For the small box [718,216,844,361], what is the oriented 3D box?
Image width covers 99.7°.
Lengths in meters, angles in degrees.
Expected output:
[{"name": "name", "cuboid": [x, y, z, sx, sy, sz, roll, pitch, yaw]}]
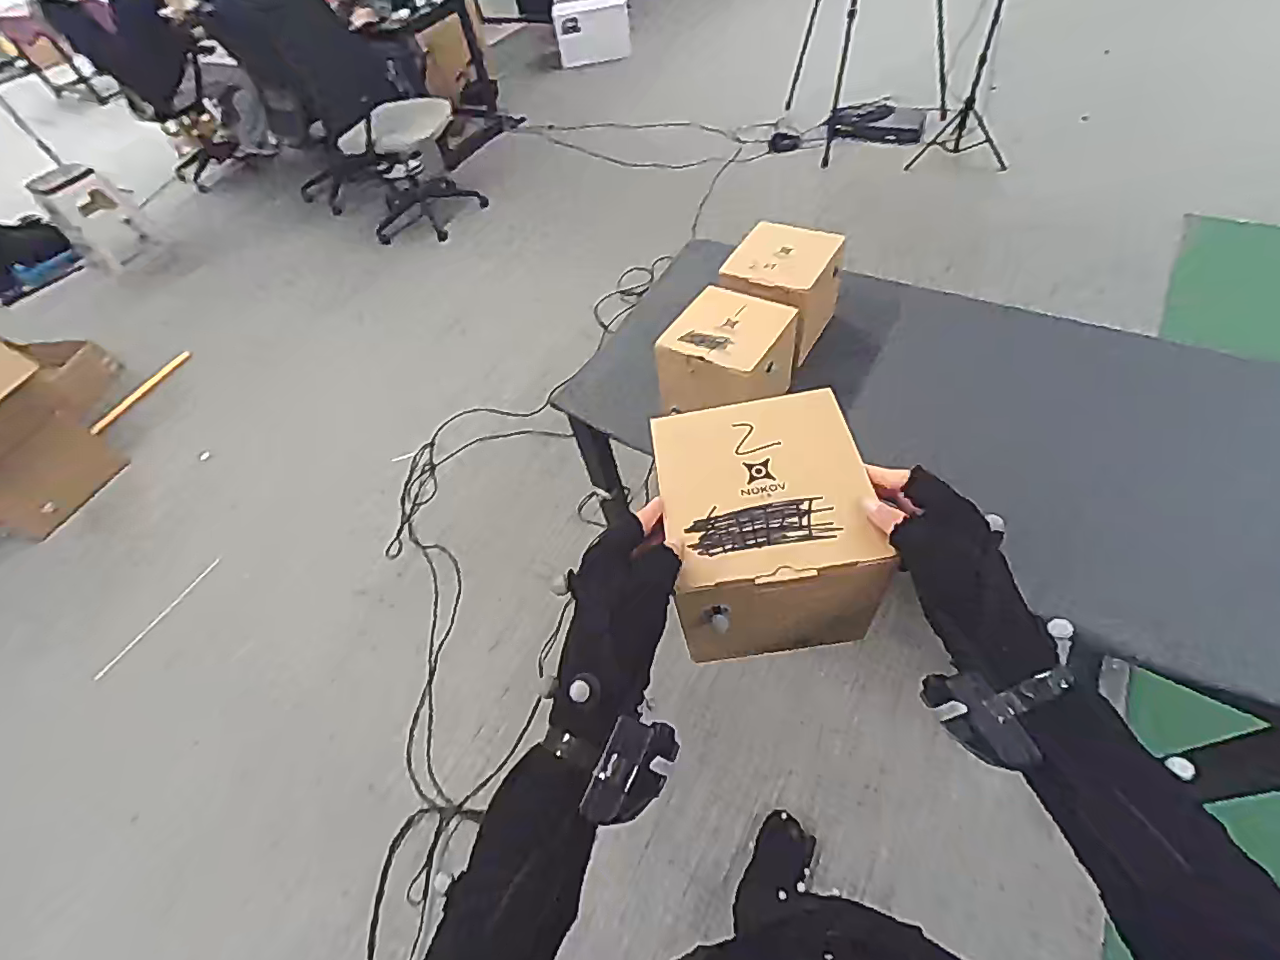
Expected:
[{"name": "small box", "cuboid": [0.255, -0.355, 1.006, 0.168, 0.176, 0.179, 24, 61, 24]}]

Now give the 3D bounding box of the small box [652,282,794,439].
[{"name": "small box", "cuboid": [0.141, -0.198, 0.910, 0.168, 0.176, 0.179, 25, 60, 24]}]
